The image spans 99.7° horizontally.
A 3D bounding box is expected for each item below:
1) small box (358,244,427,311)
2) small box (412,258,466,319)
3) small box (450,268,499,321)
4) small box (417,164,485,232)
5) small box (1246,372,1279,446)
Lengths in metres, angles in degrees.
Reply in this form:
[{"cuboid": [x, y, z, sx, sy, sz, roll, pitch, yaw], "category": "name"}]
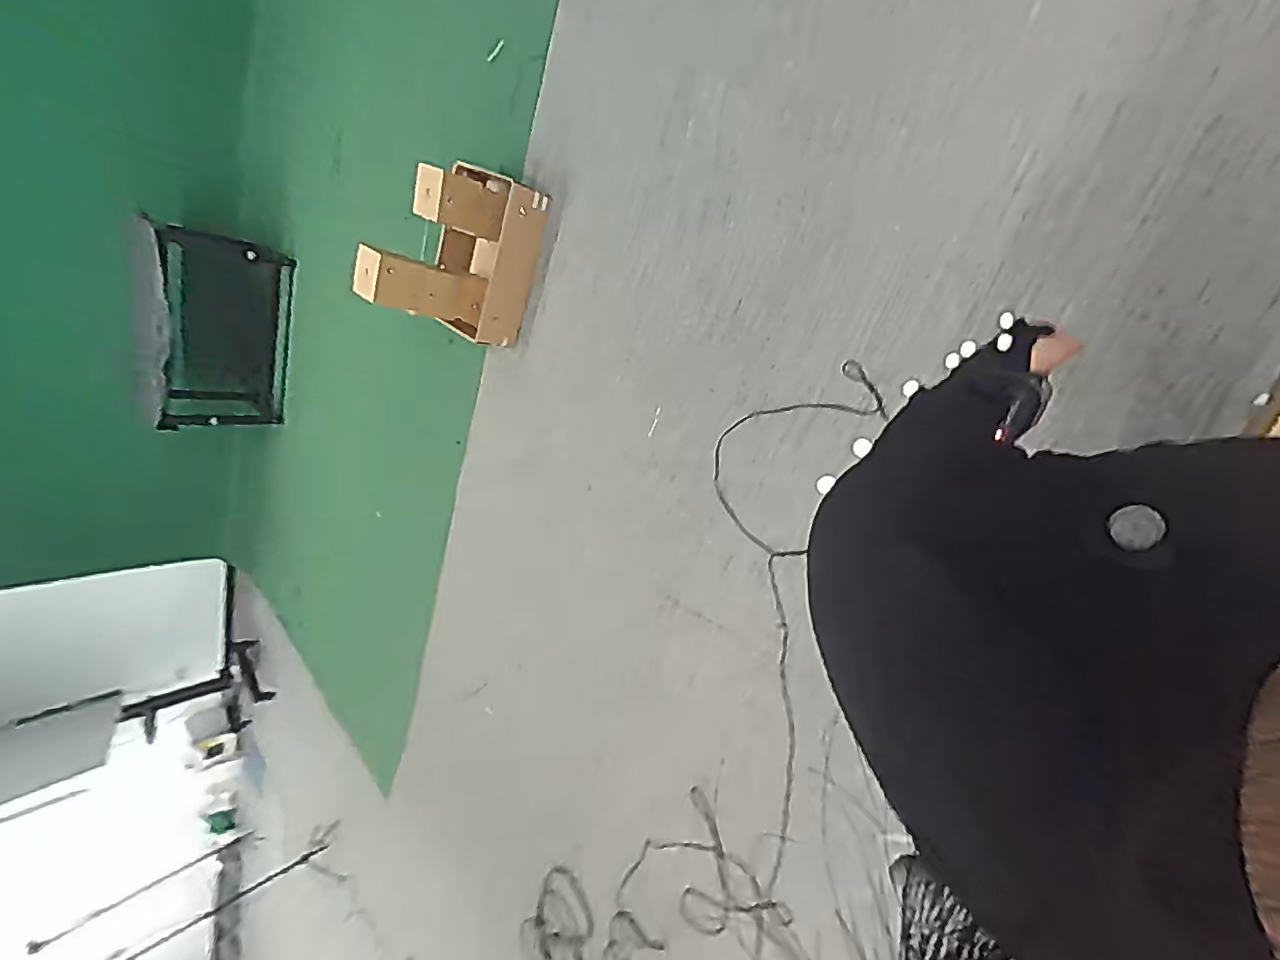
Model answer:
[{"cuboid": [-0.911, -0.744, 1.999, 0.168, 0.176, 0.179, 33, 115, 31], "category": "small box"}, {"cuboid": [-0.813, -0.751, 2.133, 0.168, 0.176, 0.179, 33, 113, 30], "category": "small box"}, {"cuboid": [-0.717, -0.775, 2.264, 0.179, 0.176, 0.168, 32, 114, 31], "category": "small box"}, {"cuboid": [-0.697, -1.041, 2.003, 0.168, 0.176, 0.179, 31, 115, 30], "category": "small box"}, {"cuboid": [1.158, -0.122, 0.885, 0.168, 0.176, 0.179, 29, 113, 33], "category": "small box"}]
